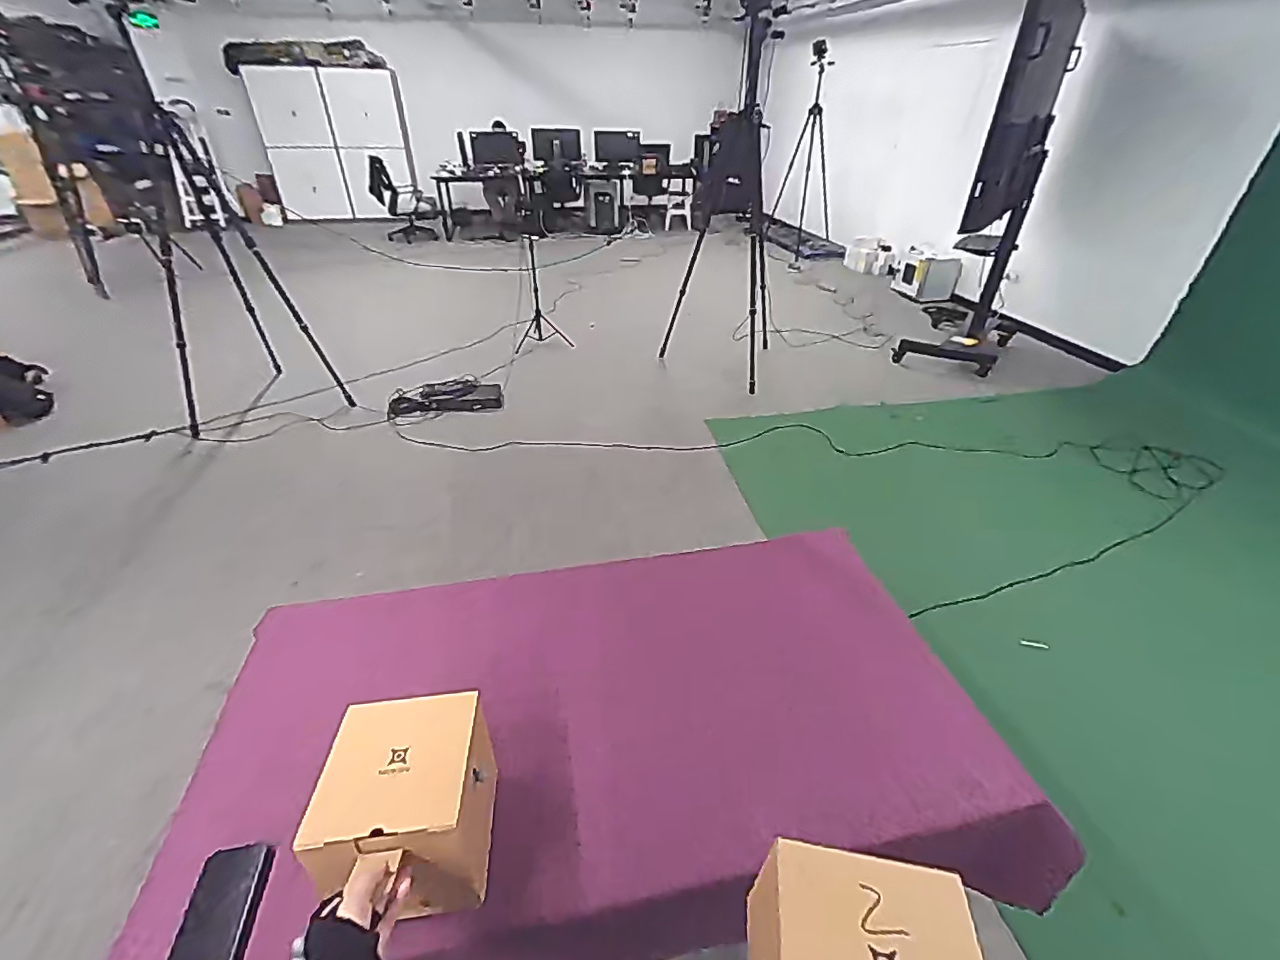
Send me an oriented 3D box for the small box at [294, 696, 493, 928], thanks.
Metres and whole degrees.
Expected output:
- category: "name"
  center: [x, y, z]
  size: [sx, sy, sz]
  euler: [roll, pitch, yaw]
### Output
- category: "small box"
  center: [-0.279, 0.397, 0.660]
  size: [0.168, 0.176, 0.179]
  euler: [-4, 30, -6]
